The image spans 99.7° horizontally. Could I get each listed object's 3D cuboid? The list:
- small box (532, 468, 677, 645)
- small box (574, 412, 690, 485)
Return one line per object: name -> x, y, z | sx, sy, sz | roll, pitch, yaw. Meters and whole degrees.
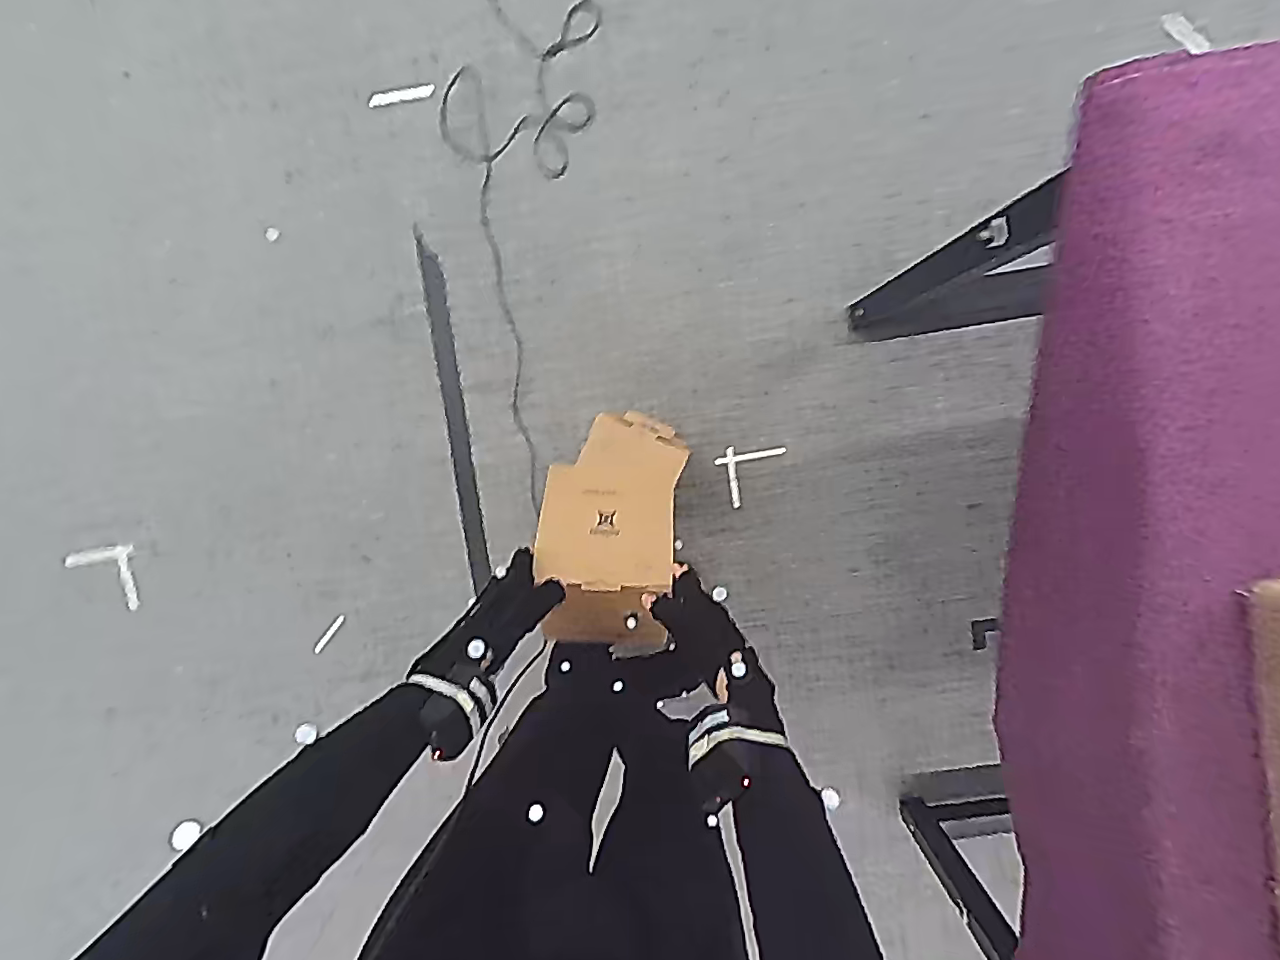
small box -> -0.039, 0.105, 0.715 | 0.168, 0.179, 0.176 | 2, 139, -1
small box -> -0.025, -0.008, 0.969 | 0.168, 0.176, 0.179 | 24, 95, 0
